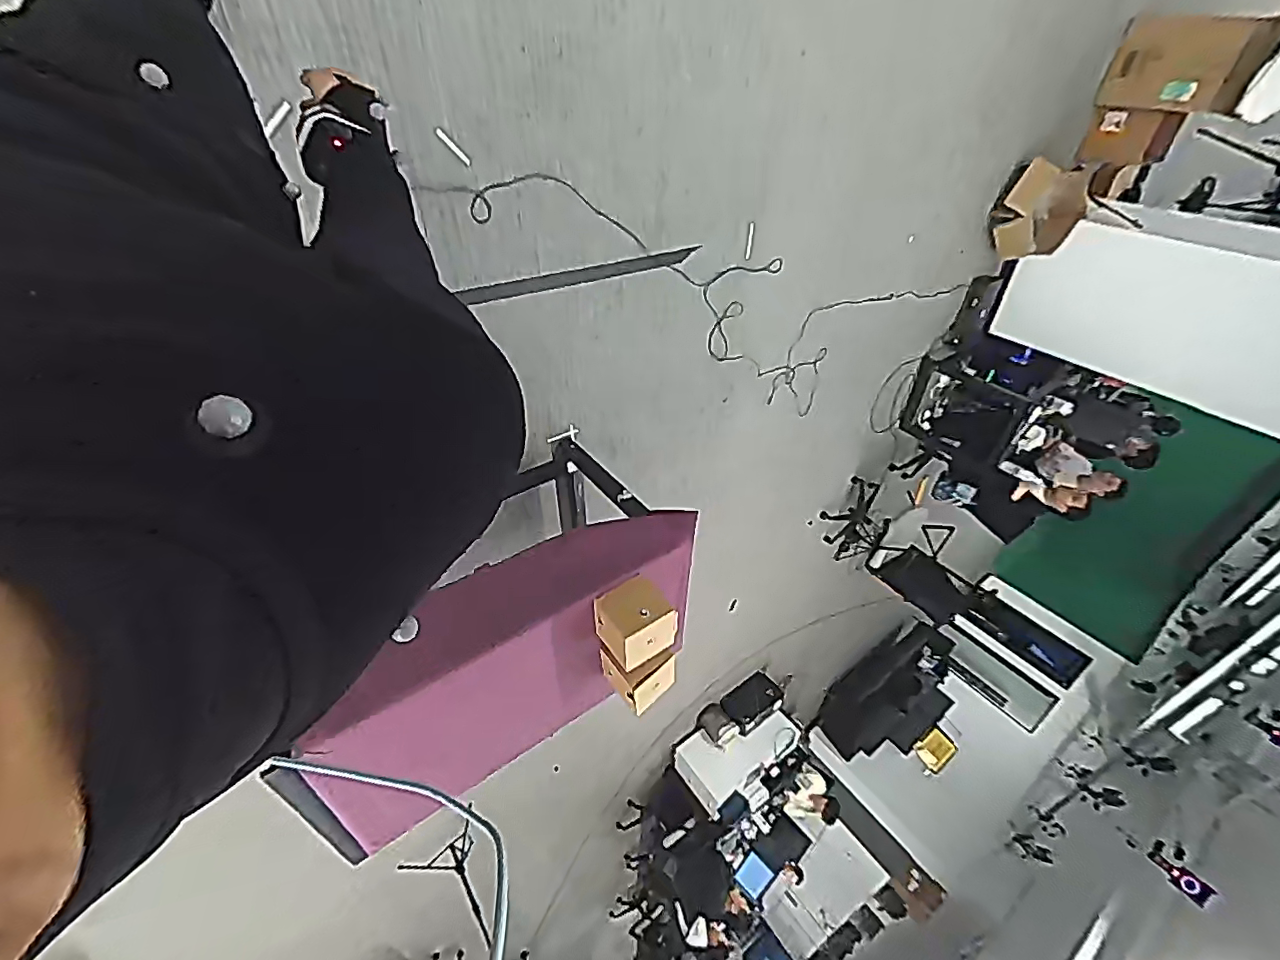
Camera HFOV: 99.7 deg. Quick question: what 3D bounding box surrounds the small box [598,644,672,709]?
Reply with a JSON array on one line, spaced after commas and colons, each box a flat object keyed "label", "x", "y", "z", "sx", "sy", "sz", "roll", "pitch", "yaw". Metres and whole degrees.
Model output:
[{"label": "small box", "x": -0.014, "y": 0.591, "z": 1.747, "sx": 0.179, "sy": 0.176, "sz": 0.168, "roll": -27, "pitch": 136, "yaw": -26}]

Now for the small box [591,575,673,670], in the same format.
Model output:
[{"label": "small box", "x": -0.025, "y": 0.410, "z": 1.587, "sx": 0.179, "sy": 0.176, "sz": 0.168, "roll": -25, "pitch": 136, "yaw": -27}]
